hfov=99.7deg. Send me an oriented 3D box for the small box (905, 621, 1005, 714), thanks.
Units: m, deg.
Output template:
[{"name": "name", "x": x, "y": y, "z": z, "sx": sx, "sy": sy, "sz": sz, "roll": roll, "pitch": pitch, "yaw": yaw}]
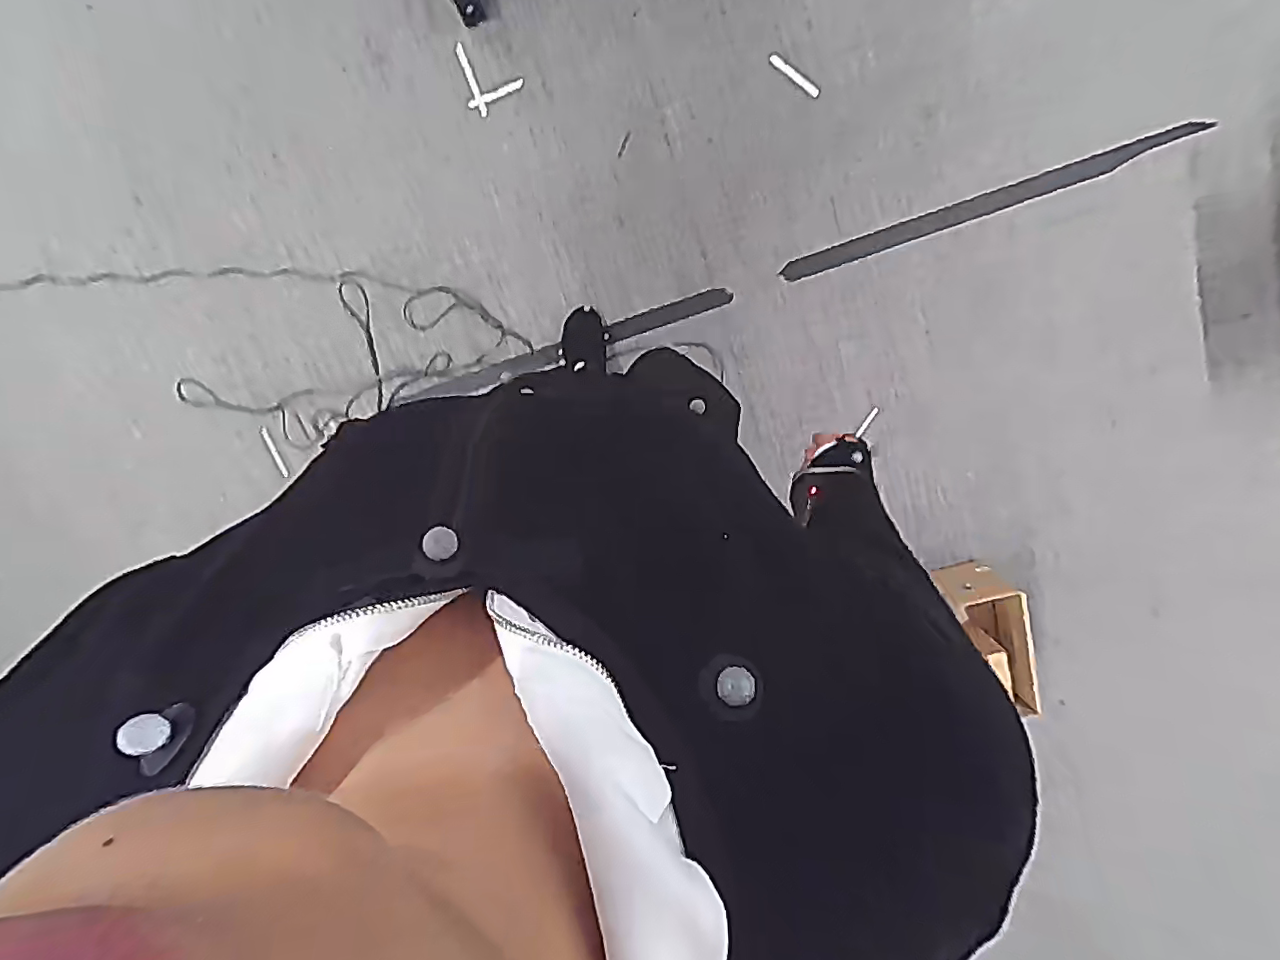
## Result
[{"name": "small box", "x": 0.875, "y": 0.517, "z": 1.513, "sx": 0.179, "sy": 0.176, "sz": 0.168, "roll": -15, "pitch": 101, "yaw": 5}]
